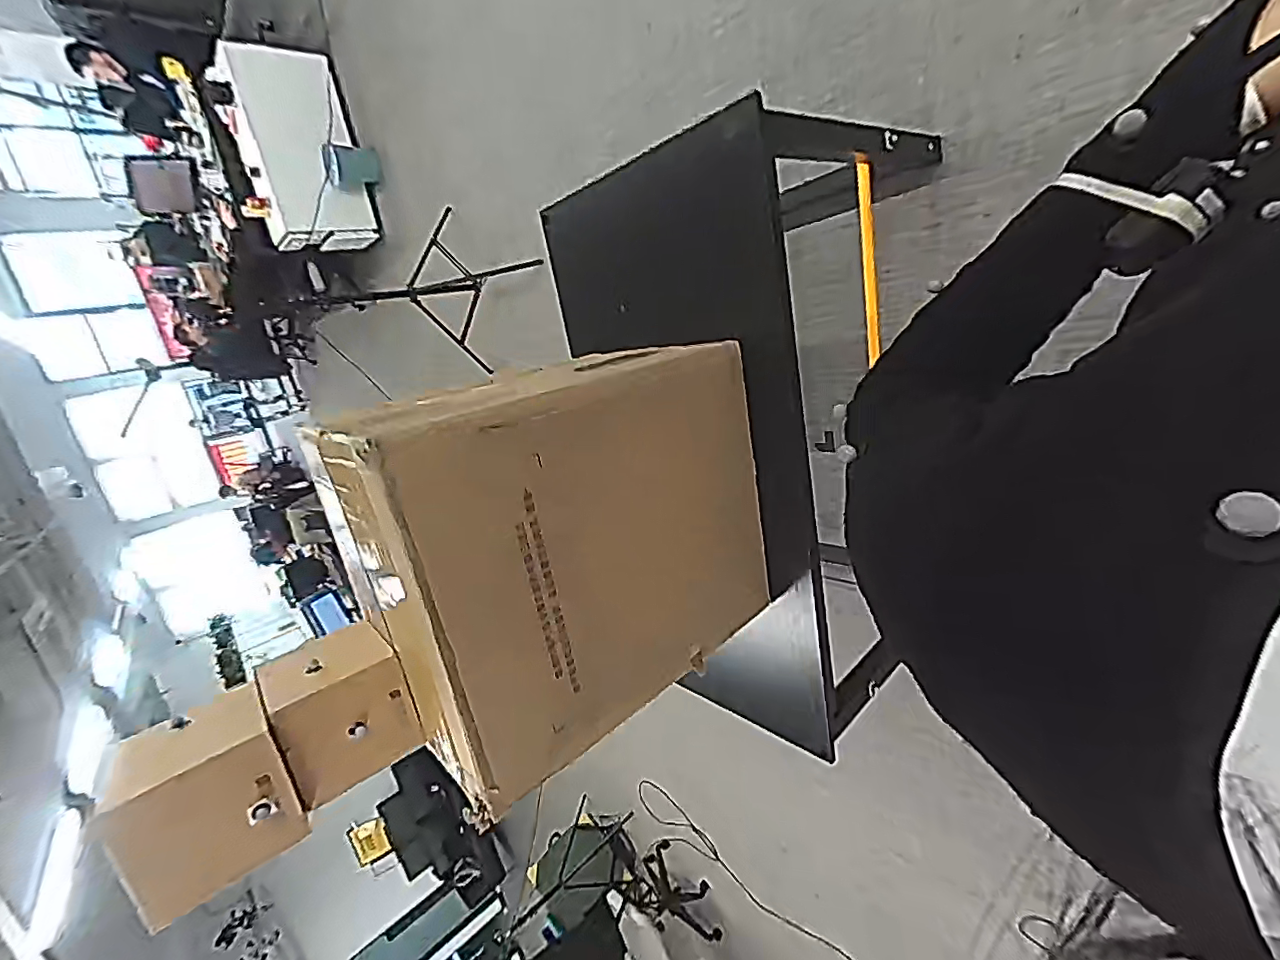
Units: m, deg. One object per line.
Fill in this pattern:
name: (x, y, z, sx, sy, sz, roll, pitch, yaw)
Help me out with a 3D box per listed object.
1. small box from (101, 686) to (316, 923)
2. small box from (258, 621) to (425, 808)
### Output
small box: (-0.549, 0.399, 0.707, 0.179, 0.176, 0.168, 5, 113, 50)
small box: (-0.450, 0.341, 0.828, 0.179, 0.176, 0.168, 9, 114, 49)
